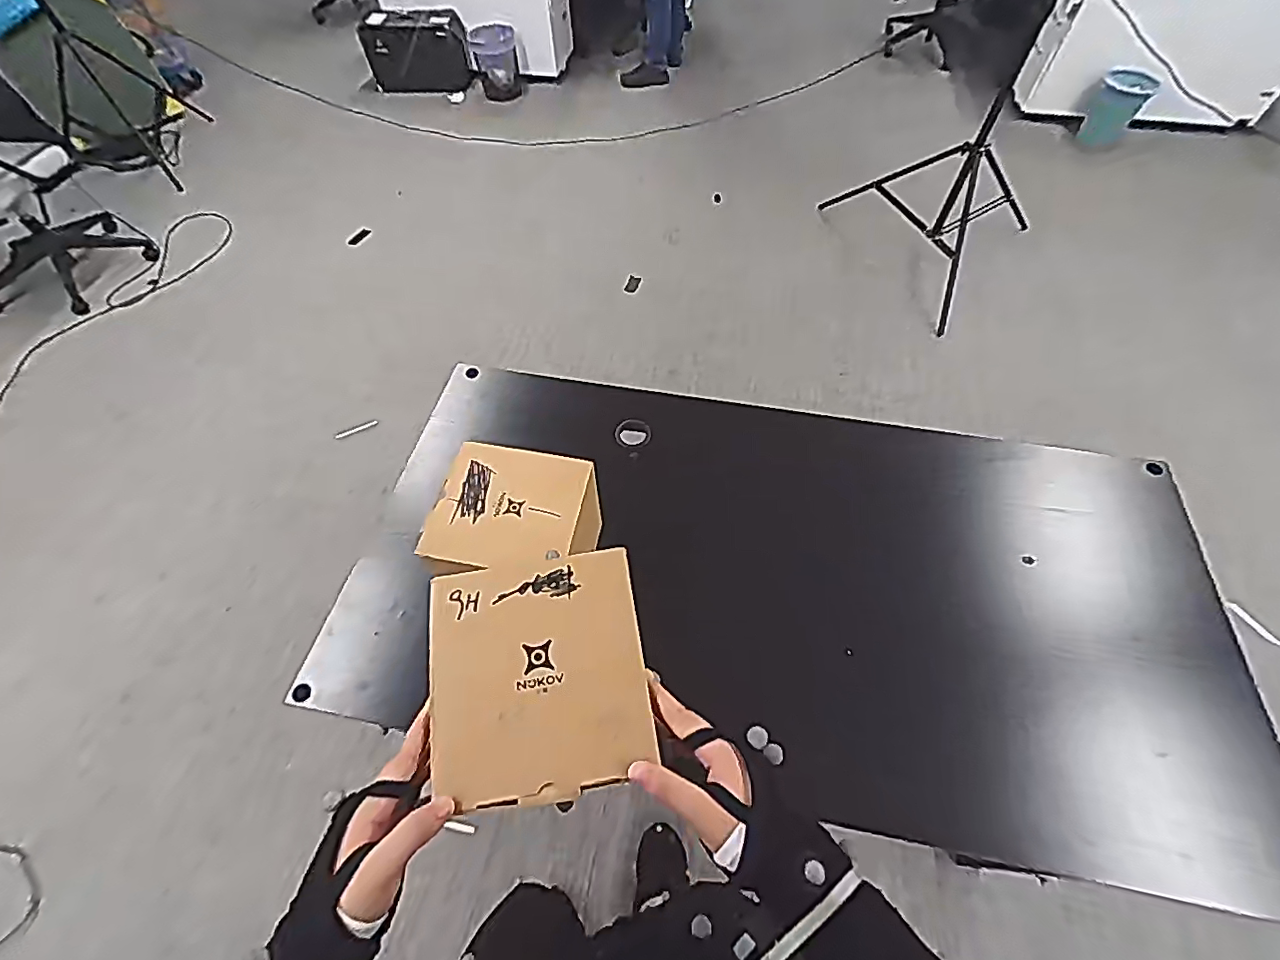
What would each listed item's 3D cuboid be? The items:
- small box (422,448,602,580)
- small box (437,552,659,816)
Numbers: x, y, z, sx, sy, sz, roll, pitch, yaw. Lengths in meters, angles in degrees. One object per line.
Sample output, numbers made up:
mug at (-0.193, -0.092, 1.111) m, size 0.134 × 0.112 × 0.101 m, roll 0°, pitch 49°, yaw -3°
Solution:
small box at (-0.155, 0.080, 0.728) m, size 0.179 × 0.176 × 0.168 m, roll 9°, pitch 58°, yaw 5°
small box at (-0.077, 0.184, 0.499) m, size 0.168 × 0.176 × 0.179 m, roll -9°, pitch 66°, yaw -4°
